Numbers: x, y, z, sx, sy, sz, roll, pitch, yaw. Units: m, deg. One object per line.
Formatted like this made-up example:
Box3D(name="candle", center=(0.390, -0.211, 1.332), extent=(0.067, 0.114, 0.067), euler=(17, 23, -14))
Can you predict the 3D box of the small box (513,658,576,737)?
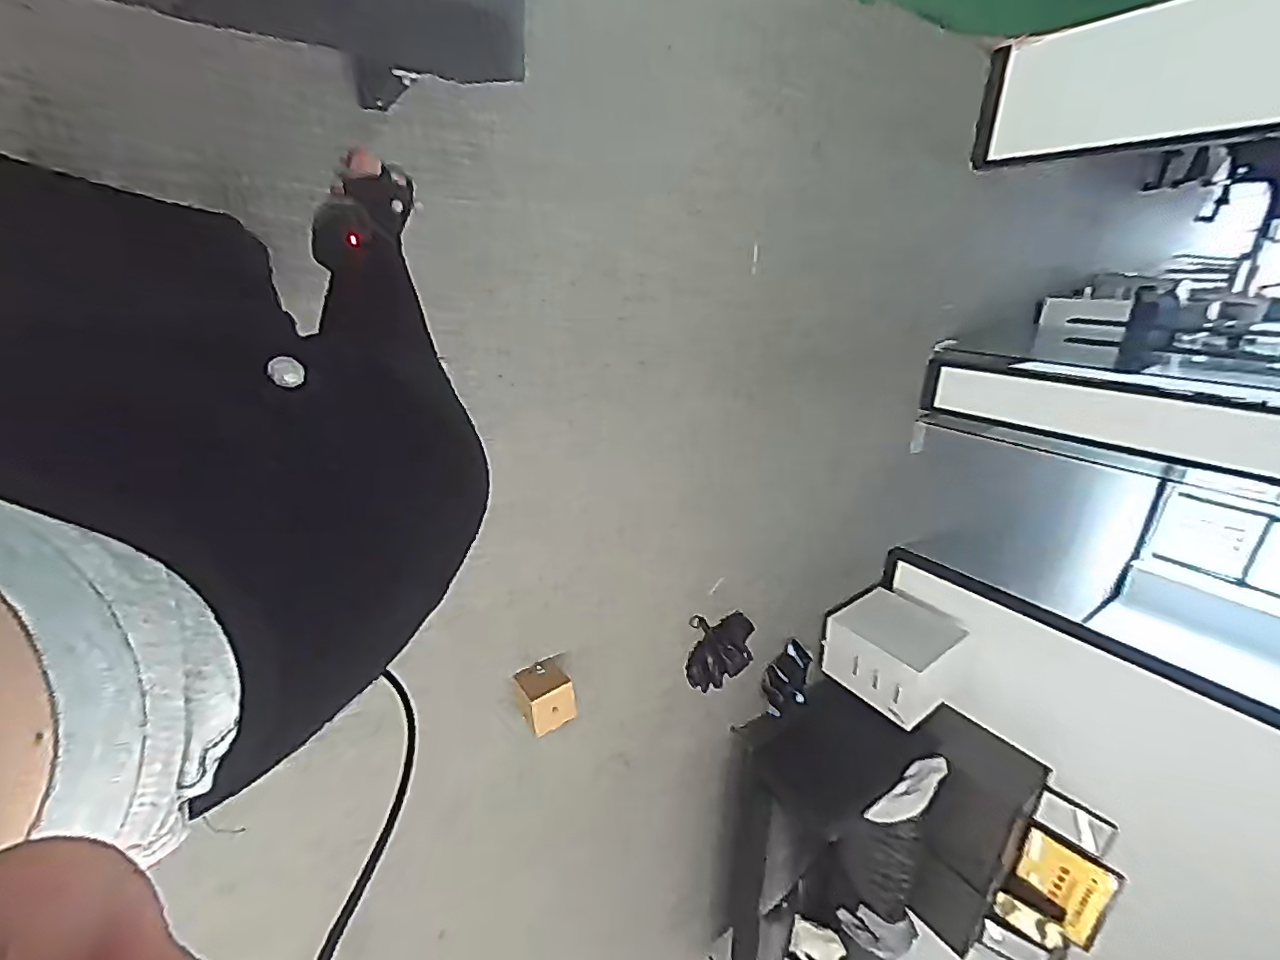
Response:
Box3D(name="small box", center=(-0.356, 0.801, 2.010), extent=(0.168, 0.176, 0.179), euler=(-20, 118, -32))
